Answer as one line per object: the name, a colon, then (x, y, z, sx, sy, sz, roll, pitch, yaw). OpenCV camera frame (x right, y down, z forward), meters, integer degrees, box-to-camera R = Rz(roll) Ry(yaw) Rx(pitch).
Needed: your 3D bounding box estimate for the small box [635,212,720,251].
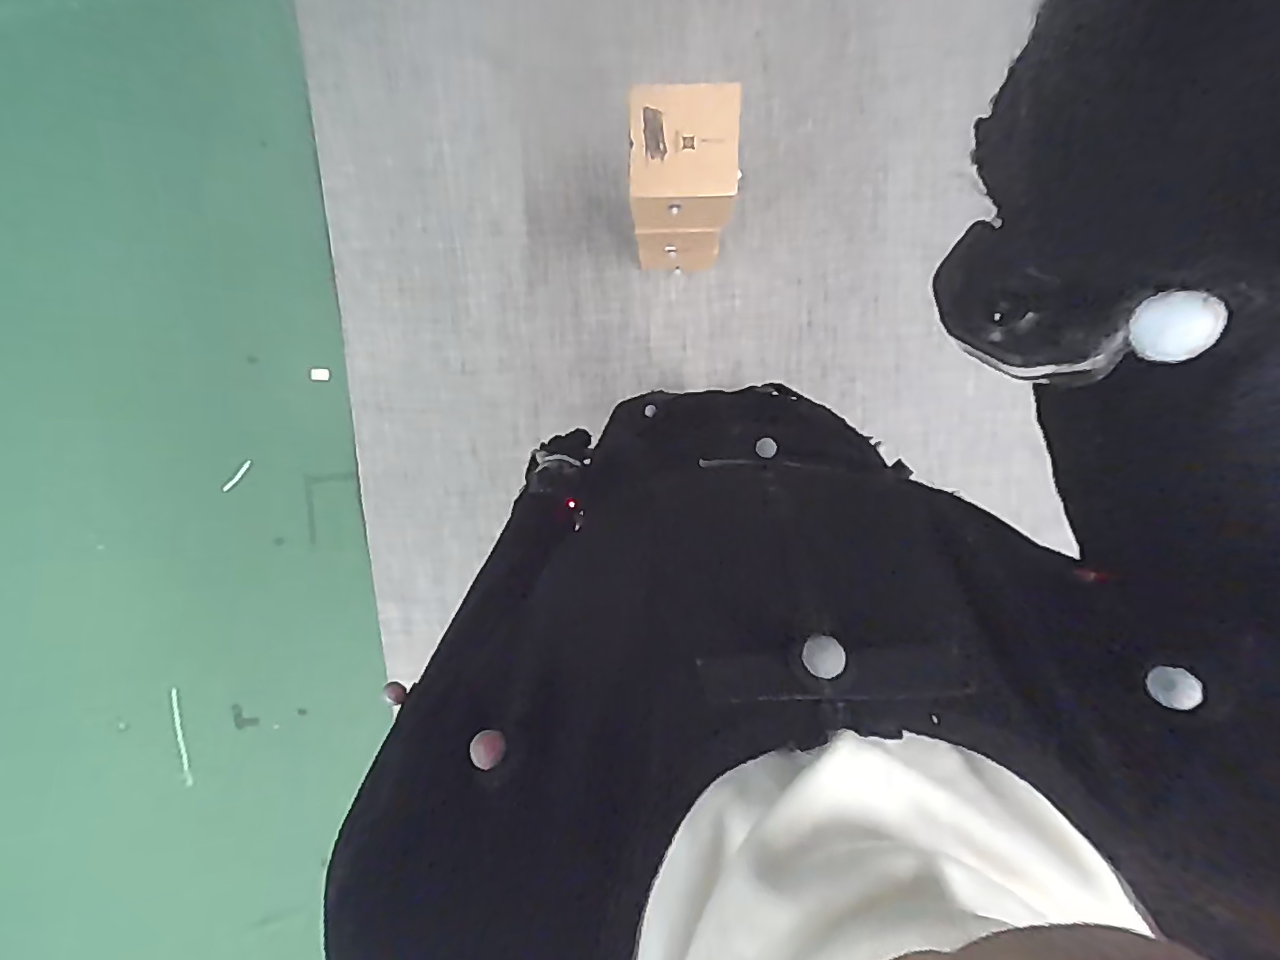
small box: (0.077, -0.581, 1.099, 0.168, 0.176, 0.179, 0, 100, 5)

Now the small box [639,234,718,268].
small box: (0.088, -0.601, 1.260, 0.179, 0.176, 0.168, 1, 99, 3)

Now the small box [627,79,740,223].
small box: (0.074, -0.556, 0.937, 0.179, 0.176, 0.168, 1, 99, 4)
